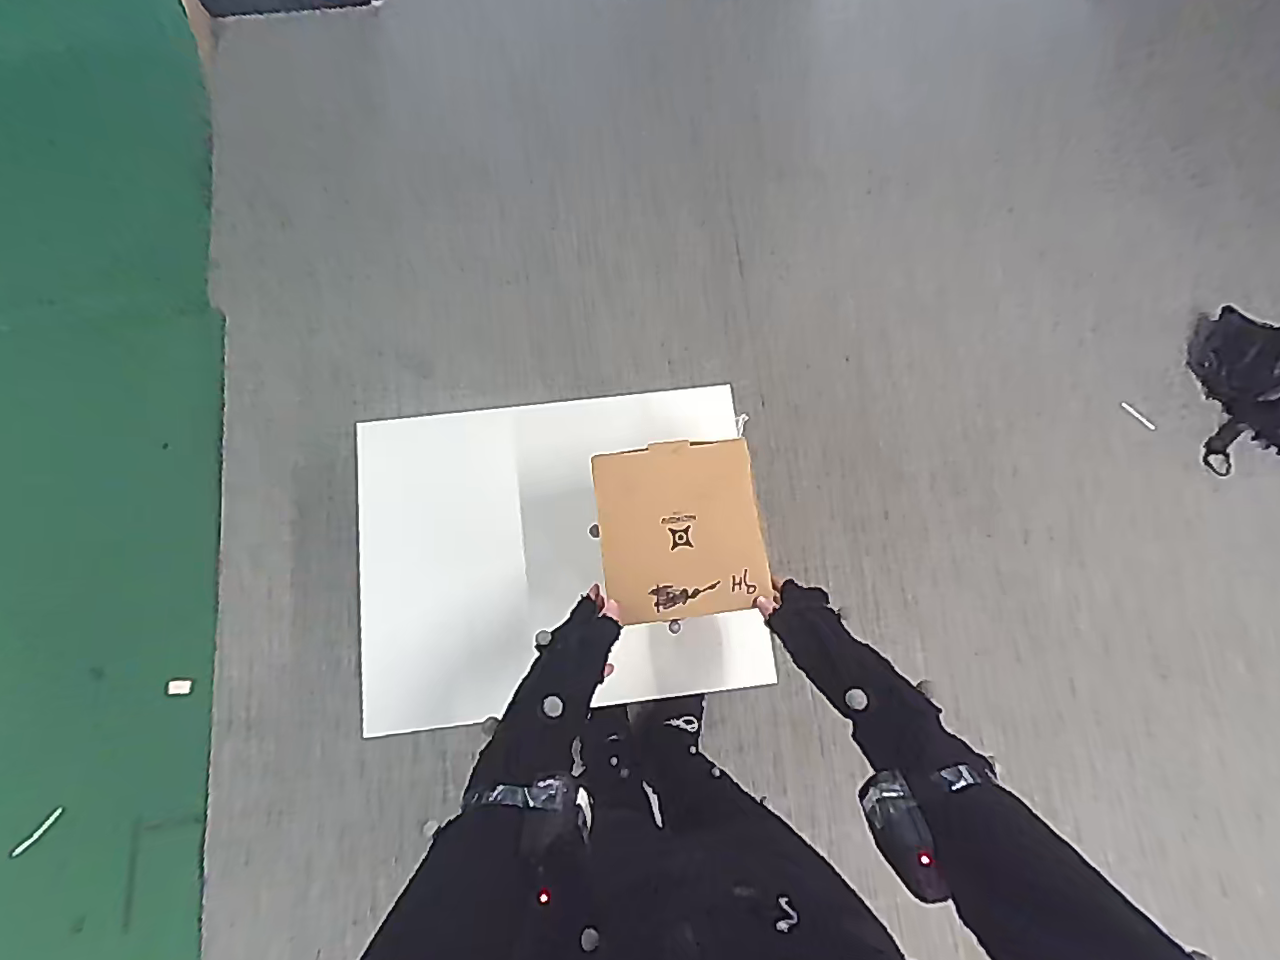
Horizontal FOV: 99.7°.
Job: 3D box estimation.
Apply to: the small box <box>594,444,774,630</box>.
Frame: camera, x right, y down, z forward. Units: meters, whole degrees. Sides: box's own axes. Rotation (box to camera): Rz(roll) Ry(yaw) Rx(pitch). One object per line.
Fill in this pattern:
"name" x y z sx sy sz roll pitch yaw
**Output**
"small box" 0.041 0.072 0.625 0.168 0.176 0.179 -8 78 -1
